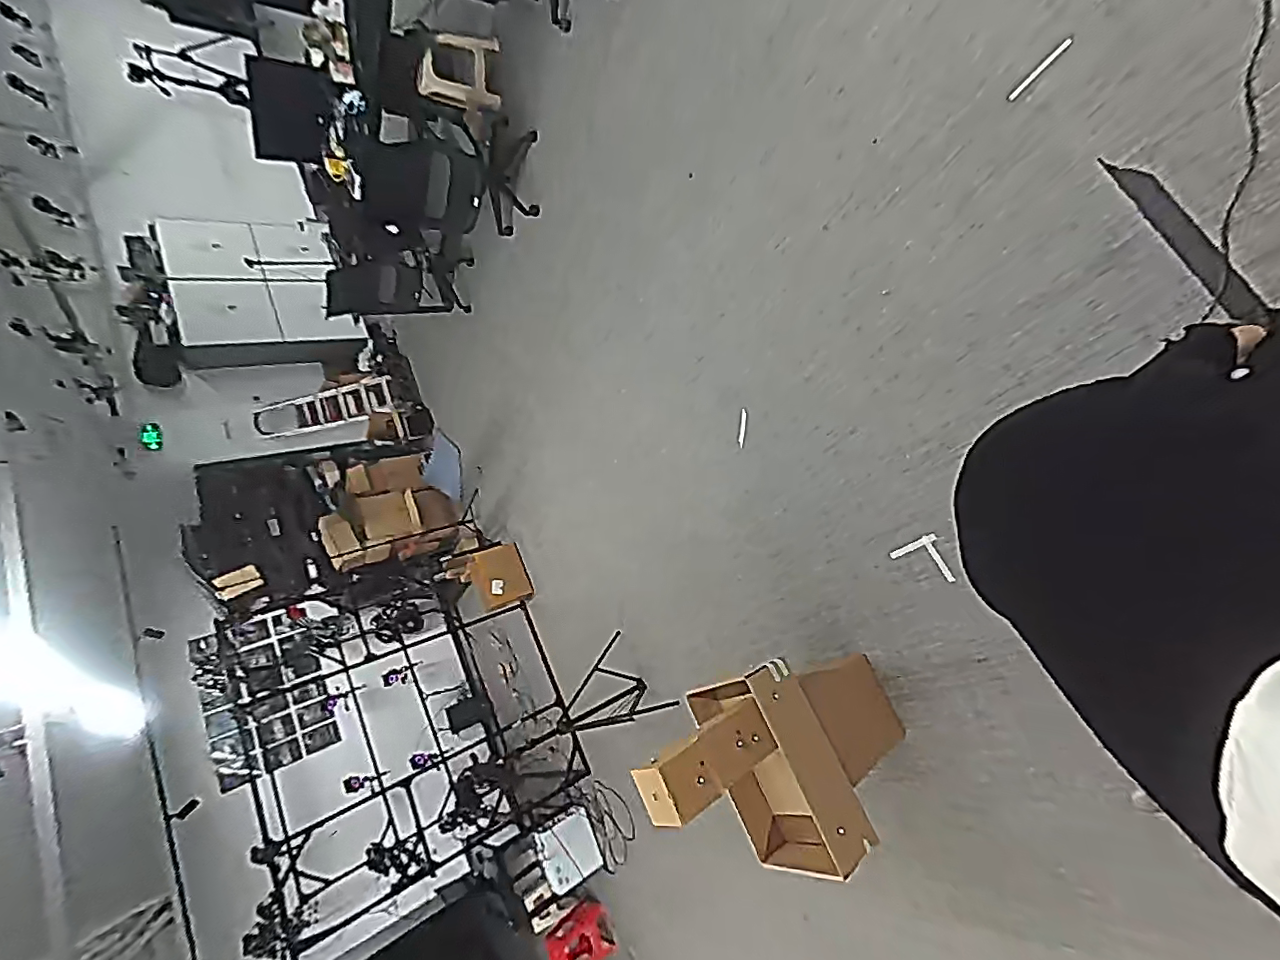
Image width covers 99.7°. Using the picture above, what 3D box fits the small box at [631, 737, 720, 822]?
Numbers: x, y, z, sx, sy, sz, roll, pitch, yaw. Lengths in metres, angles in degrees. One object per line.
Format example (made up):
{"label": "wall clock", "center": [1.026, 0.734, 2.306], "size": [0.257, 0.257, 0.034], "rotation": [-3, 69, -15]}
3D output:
{"label": "small box", "center": [0.108, 0.901, 1.635], "size": [0.179, 0.176, 0.168], "rotation": [-45, 66, 49]}
